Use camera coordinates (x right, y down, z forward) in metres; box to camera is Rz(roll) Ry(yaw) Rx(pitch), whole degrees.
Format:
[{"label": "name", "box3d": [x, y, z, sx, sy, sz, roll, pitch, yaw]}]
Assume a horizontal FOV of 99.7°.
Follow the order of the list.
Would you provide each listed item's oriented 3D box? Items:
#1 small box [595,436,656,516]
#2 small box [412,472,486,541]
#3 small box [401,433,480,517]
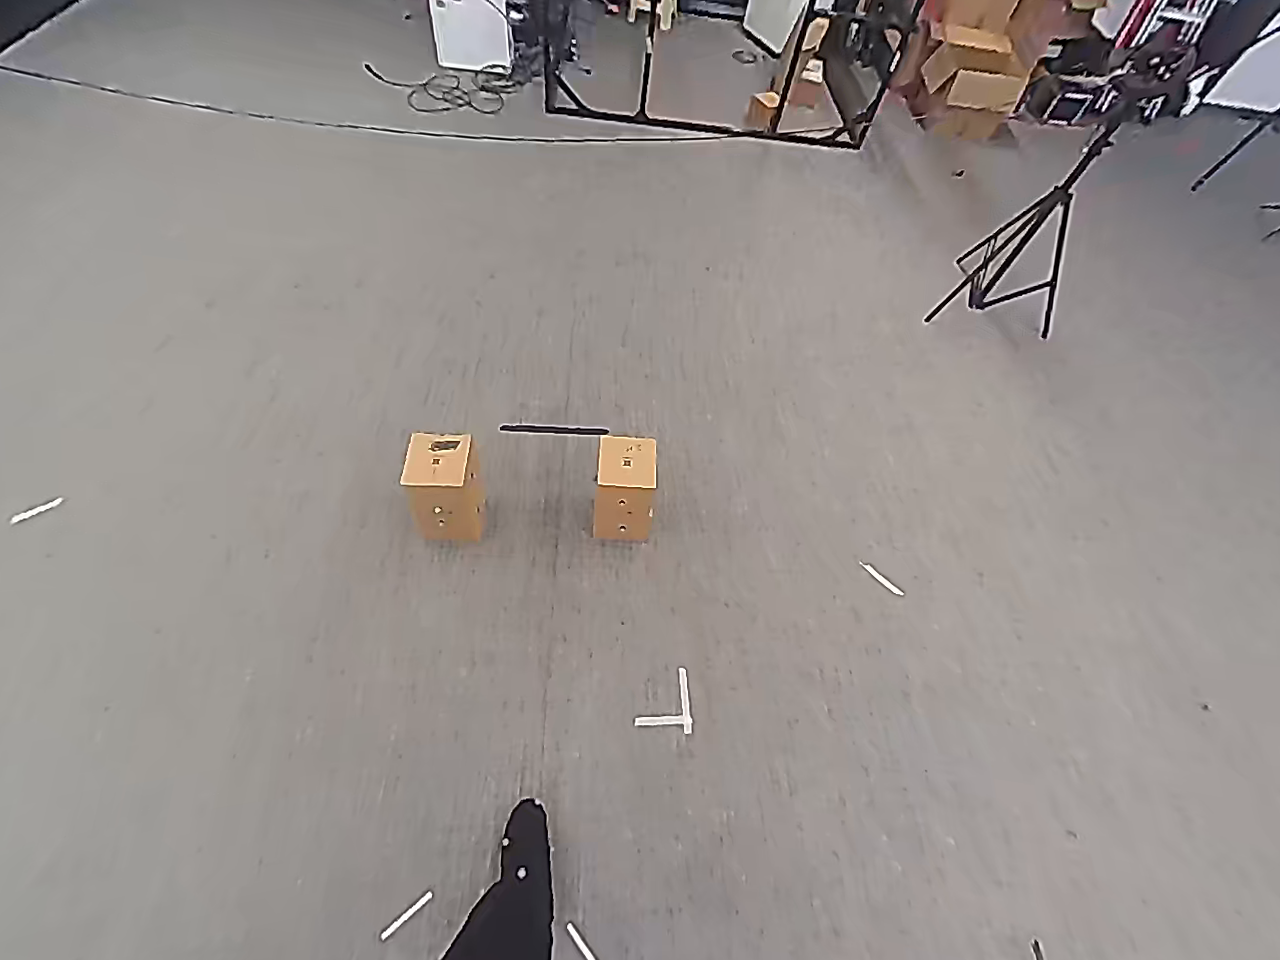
[{"label": "small box", "box3d": [-0.044, -0.006, 1.607, 0.168, 0.176, 0.179, 5, 57, -5]}, {"label": "small box", "box3d": [-0.582, 0.079, 1.676, 0.179, 0.176, 0.168, 2, 57, -6]}, {"label": "small box", "box3d": [-0.559, -0.012, 1.541, 0.168, 0.176, 0.179, 2, 58, -6]}]
